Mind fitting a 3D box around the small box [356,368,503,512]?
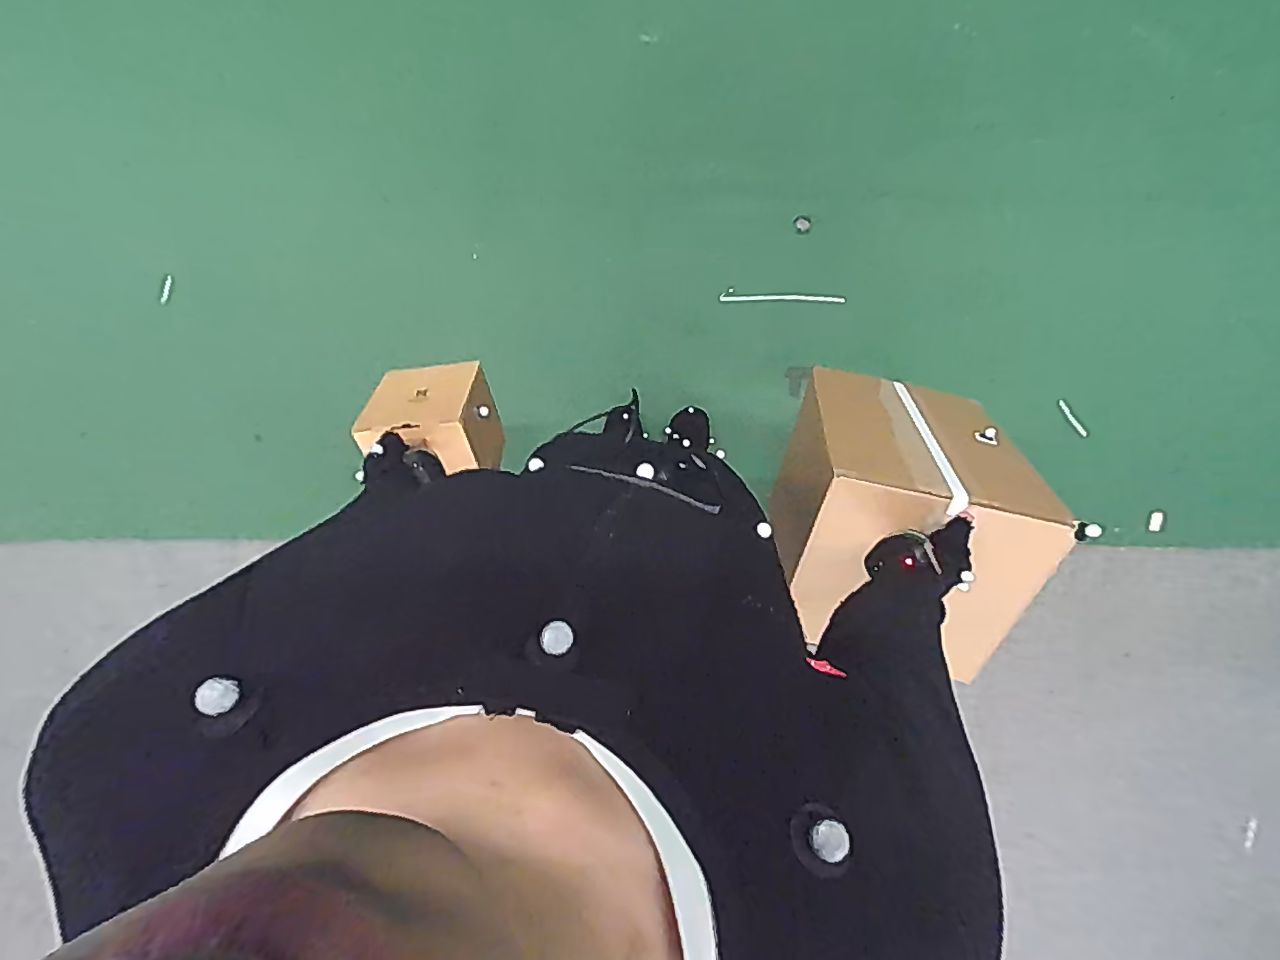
[{"bbox_3d":[-0.341,-0.068,0.920,0.168,0.179,0.176,-6,132,3],"label":"small box"}]
